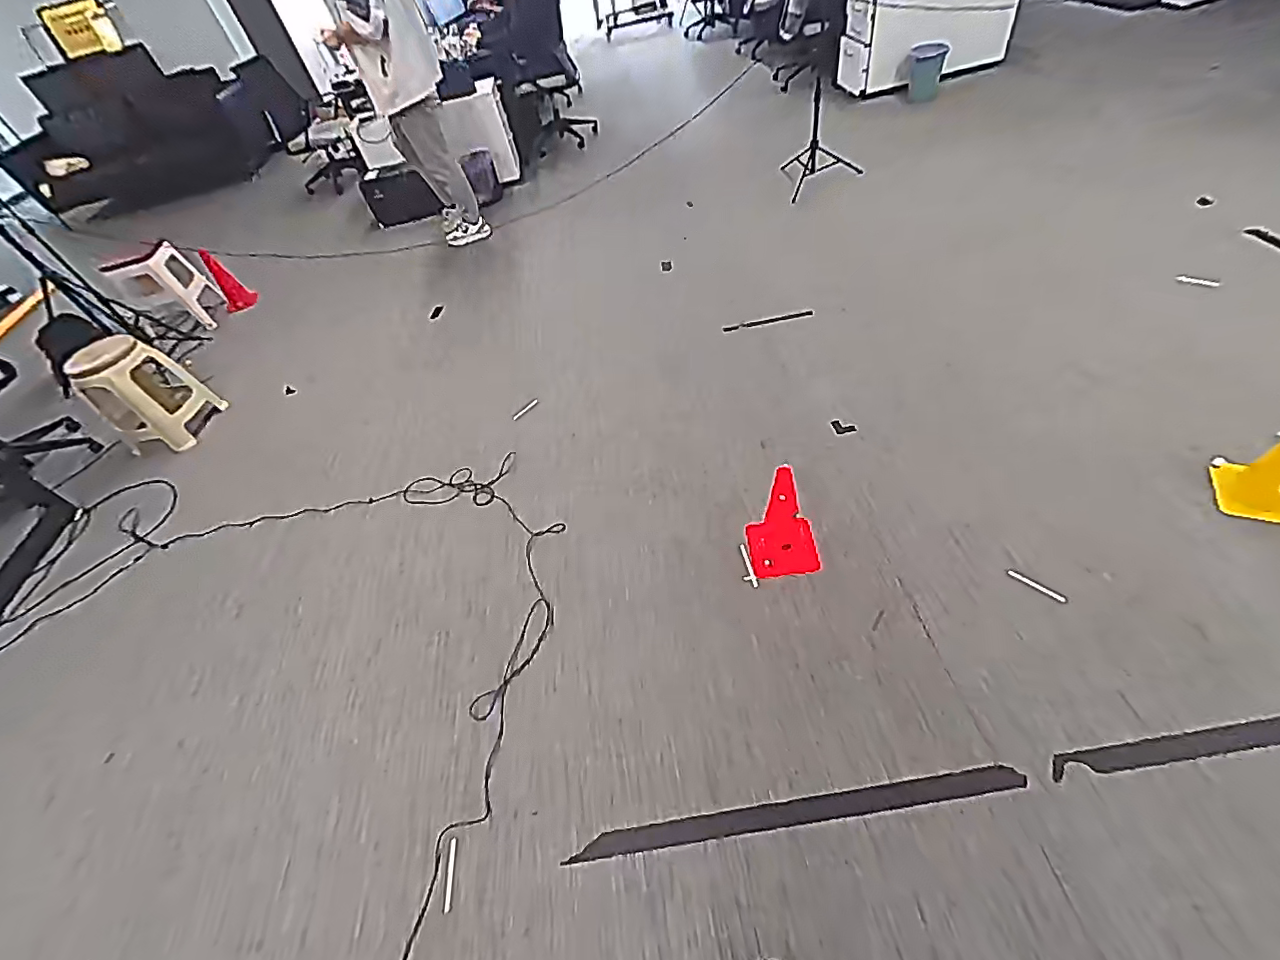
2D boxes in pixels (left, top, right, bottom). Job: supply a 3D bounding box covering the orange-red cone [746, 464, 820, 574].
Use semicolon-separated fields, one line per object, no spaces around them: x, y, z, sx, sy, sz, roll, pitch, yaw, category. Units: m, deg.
0.402;0.085;1.513;0.199;0.360;0.198;-6;49;7;orange-red cone
